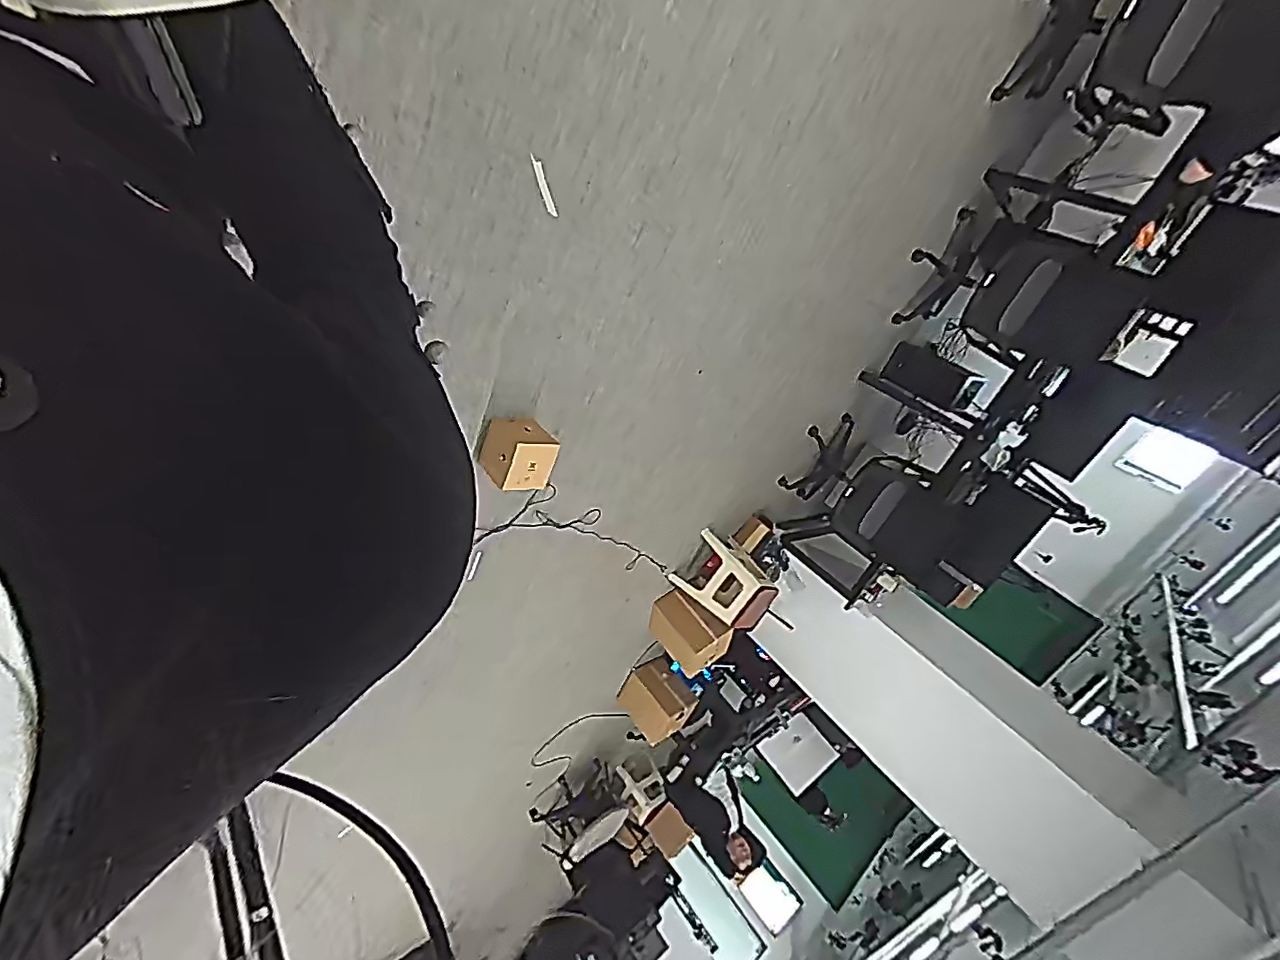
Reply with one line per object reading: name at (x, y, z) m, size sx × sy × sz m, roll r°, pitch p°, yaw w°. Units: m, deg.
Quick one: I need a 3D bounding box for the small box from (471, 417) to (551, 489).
small box at (-0.421, -0.088, 1.745) m, size 0.168 × 0.176 × 0.179 m, roll -1°, pitch 124°, yaw -47°
